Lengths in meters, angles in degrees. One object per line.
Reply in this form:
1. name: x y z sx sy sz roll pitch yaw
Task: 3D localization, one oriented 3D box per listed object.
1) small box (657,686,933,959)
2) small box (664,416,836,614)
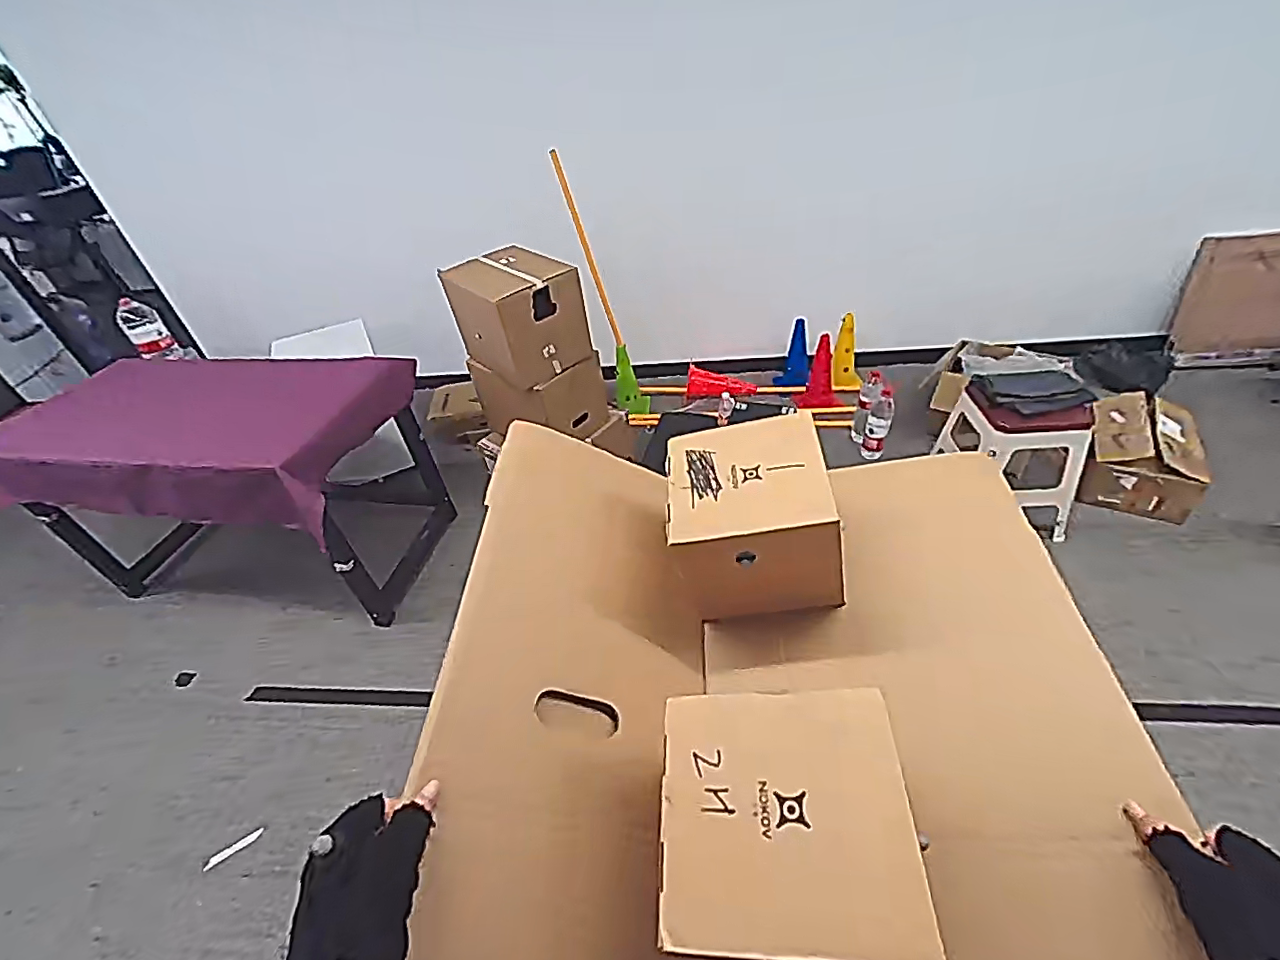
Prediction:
1. small box: 0.123 0.287 0.455 0.179 0.176 0.168 -9 47 15
2. small box: 0.135 0.051 0.670 0.179 0.176 0.168 -10 46 14
